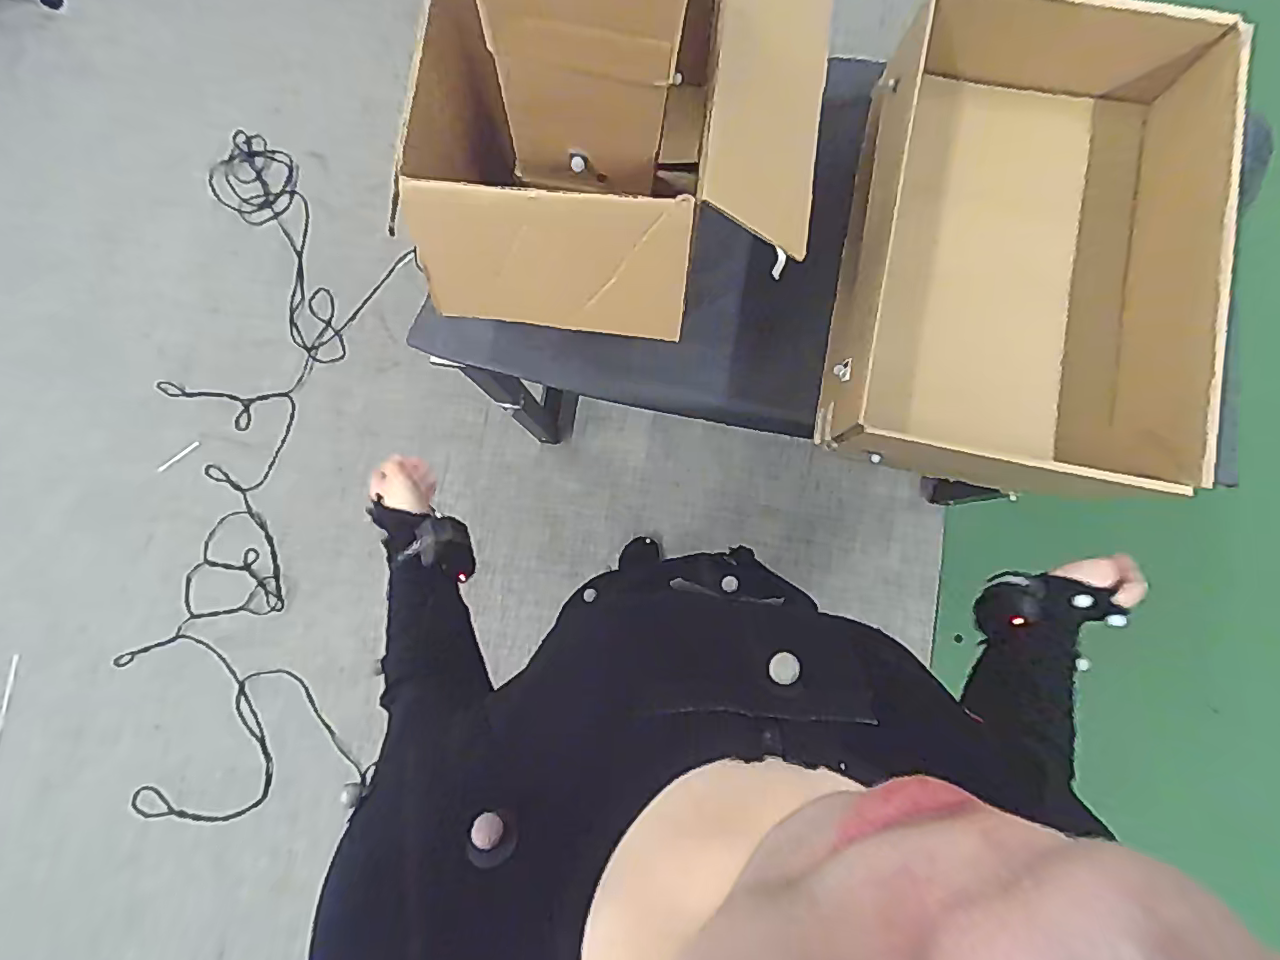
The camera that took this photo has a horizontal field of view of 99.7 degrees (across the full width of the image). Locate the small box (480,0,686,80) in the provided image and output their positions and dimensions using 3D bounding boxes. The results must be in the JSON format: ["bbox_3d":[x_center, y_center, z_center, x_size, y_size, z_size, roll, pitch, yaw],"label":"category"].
[{"bbox_3d":[-0.040,-0.473,0.438,0.179,0.176,0.168,10,82,-2],"label":"small box"}]
